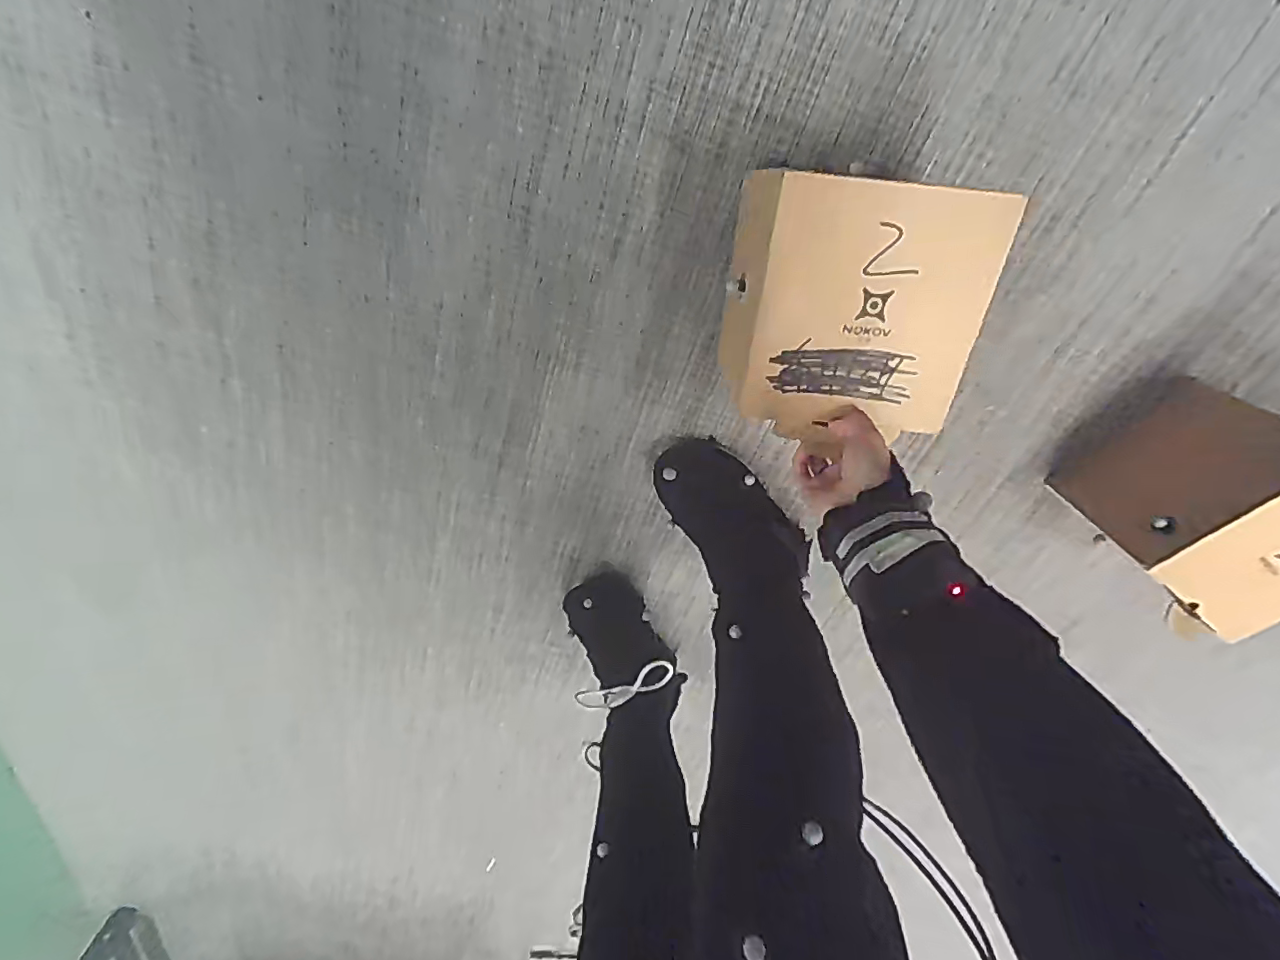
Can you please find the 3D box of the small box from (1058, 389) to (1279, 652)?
[{"bbox_3d":[0.602,0.036,0.563,0.168,0.176,0.179,34,118,-16],"label":"small box"}]
